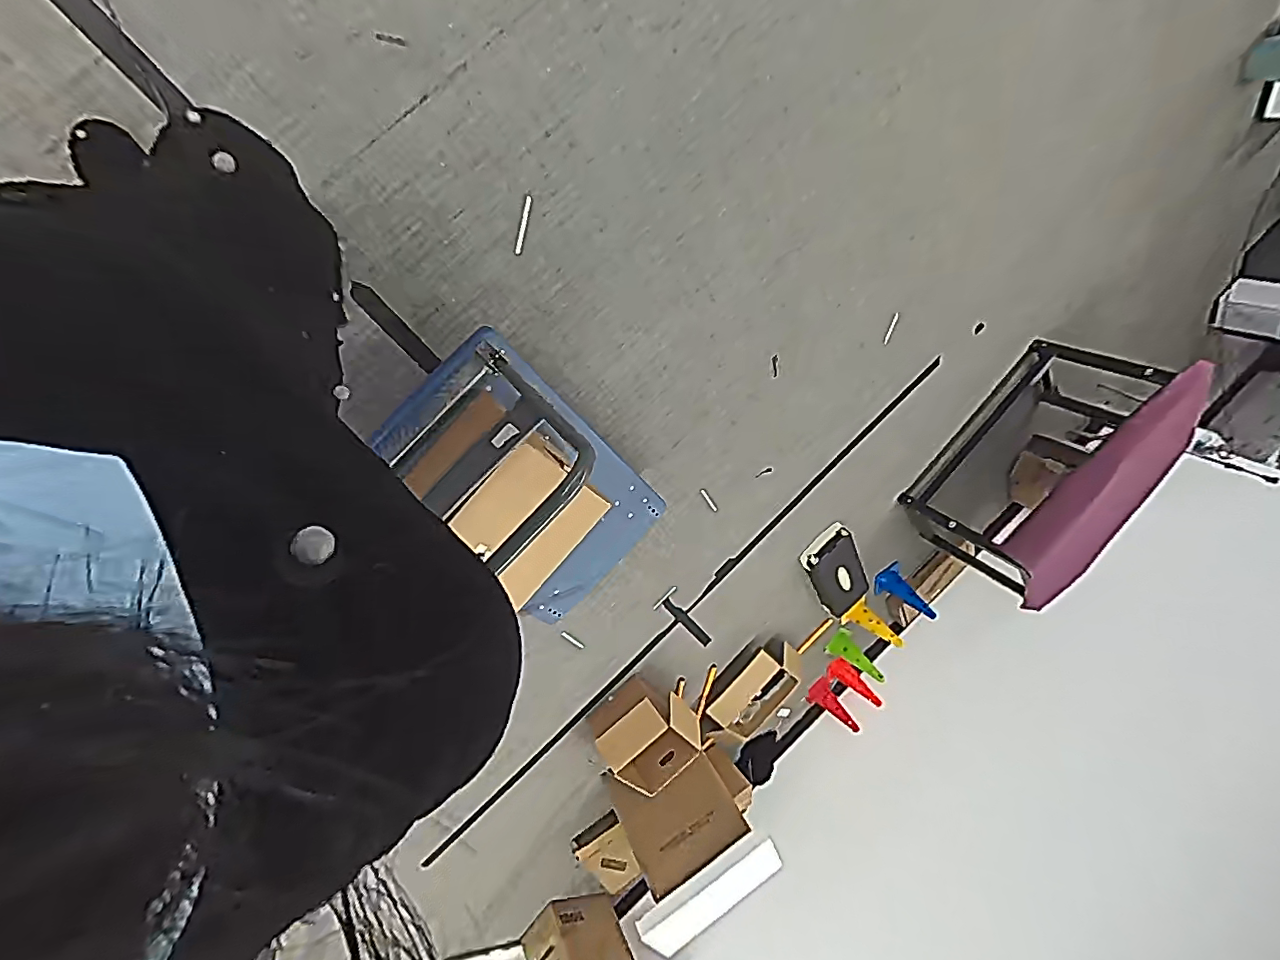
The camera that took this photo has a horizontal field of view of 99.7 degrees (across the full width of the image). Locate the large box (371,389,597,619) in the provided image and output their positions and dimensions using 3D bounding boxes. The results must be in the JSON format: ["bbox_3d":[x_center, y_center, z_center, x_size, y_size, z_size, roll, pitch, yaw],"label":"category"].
[{"bbox_3d":[-0.389,0.056,1.337,0.408,0.320,0.320,-48,132,1],"label":"large box"}]
